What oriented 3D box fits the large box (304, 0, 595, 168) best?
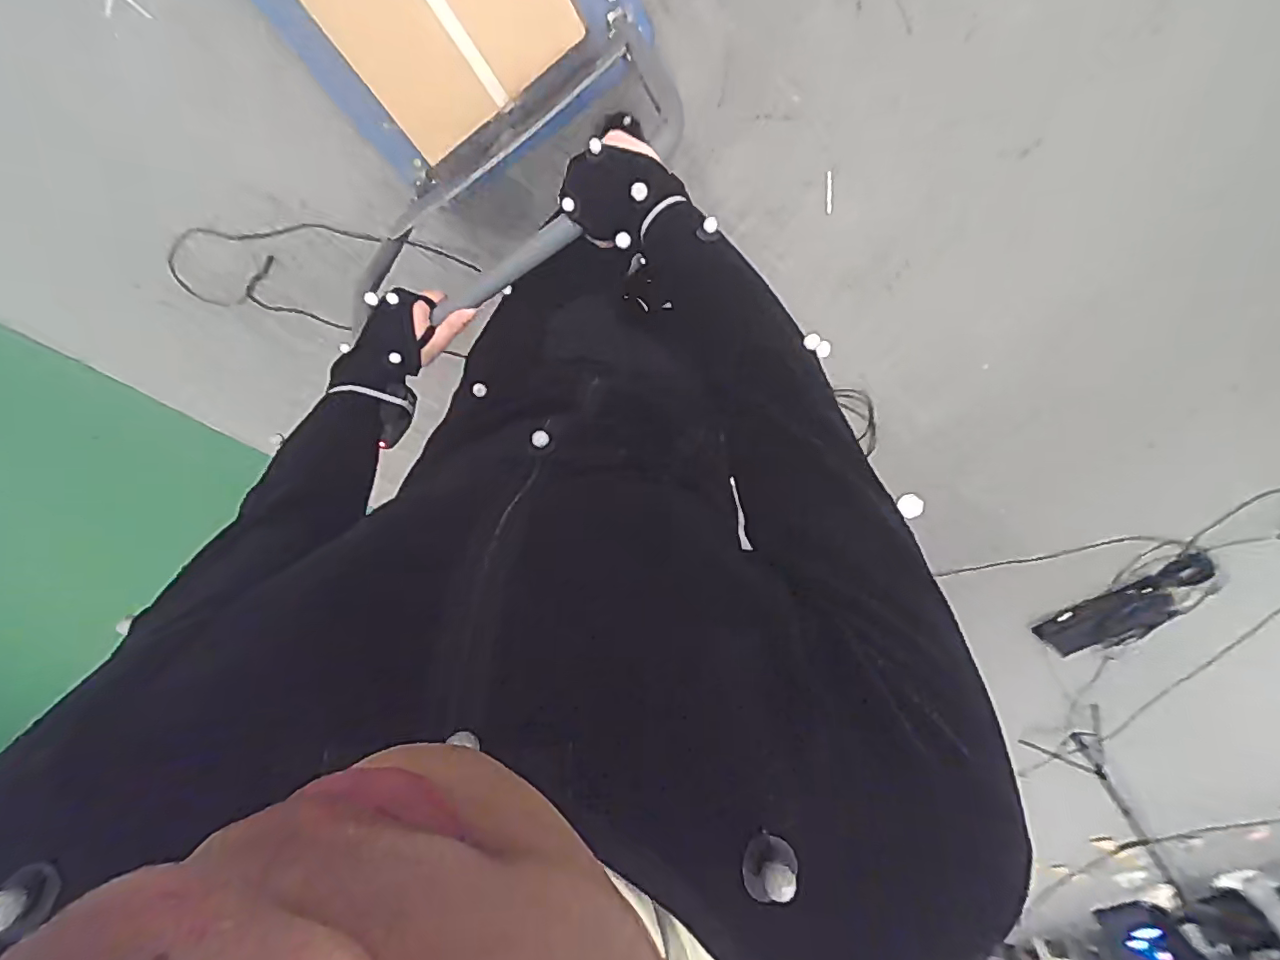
[{"bbox_3d":[-0.312,-0.797,0.846,0.320,0.320,0.408,-27,127,19],"label":"large box"}]
